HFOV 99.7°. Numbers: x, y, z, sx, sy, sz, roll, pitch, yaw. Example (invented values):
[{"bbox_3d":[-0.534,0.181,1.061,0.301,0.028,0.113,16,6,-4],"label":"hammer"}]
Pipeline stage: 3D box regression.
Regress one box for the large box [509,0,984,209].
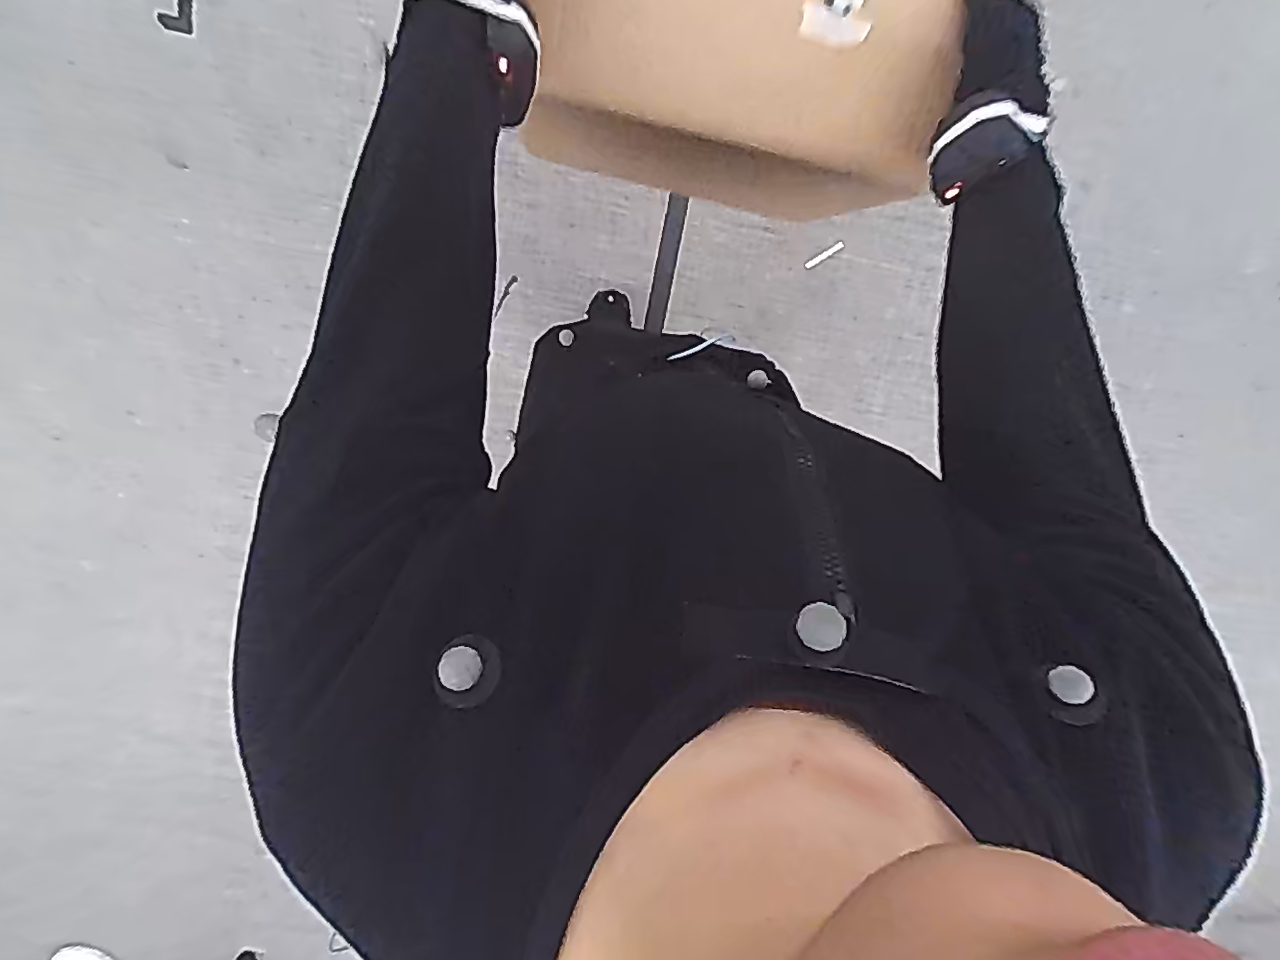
[{"bbox_3d":[0.090,-0.508,0.571,0.408,0.320,0.320,8,111,-10],"label":"large box"}]
